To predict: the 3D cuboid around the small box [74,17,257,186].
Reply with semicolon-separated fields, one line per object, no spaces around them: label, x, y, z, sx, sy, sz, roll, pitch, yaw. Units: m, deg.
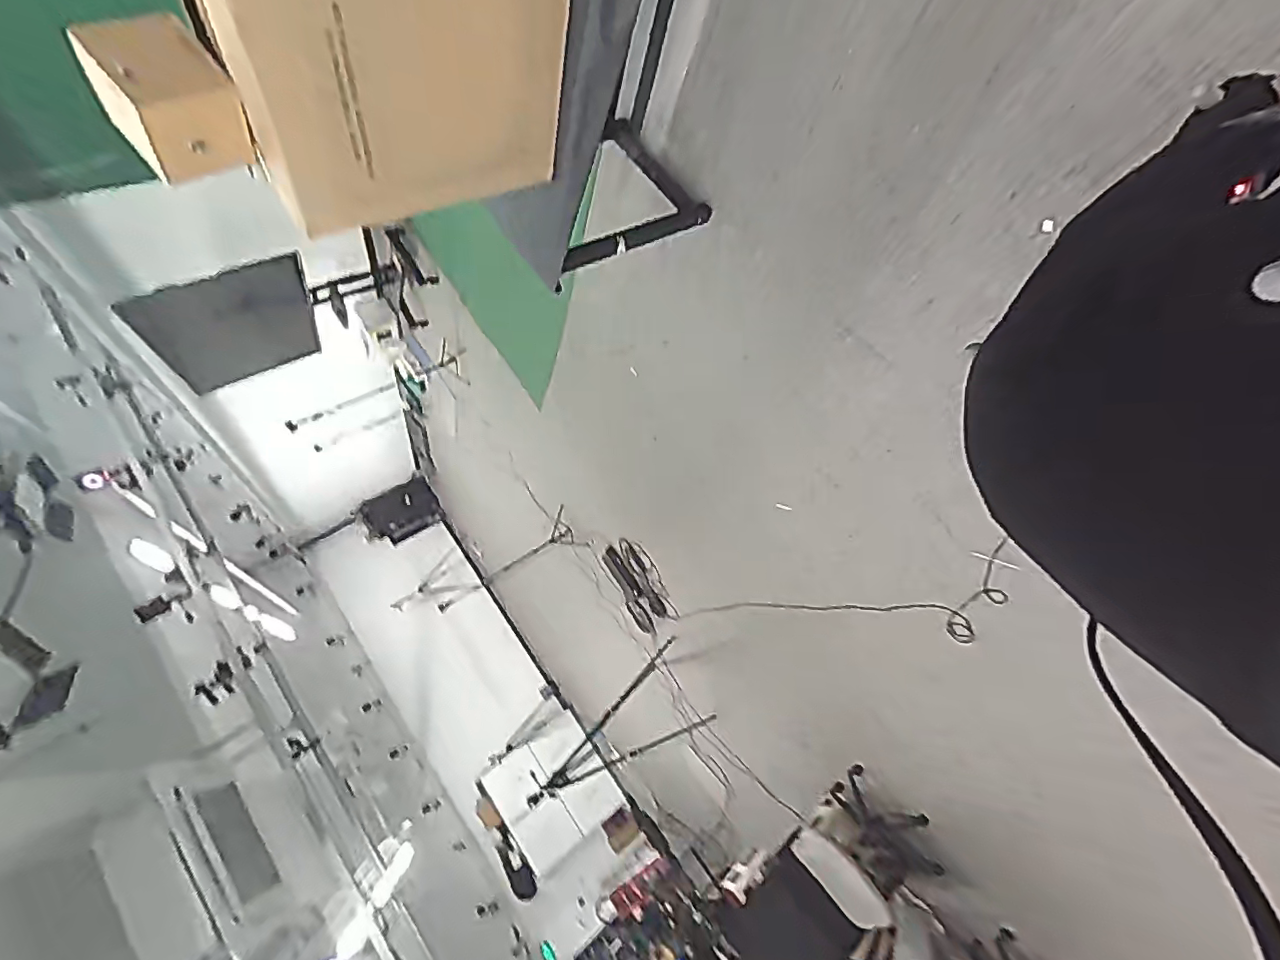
small box;-0.853;-0.695;0.999;0.168;0.176;0.179;48;152;-4
